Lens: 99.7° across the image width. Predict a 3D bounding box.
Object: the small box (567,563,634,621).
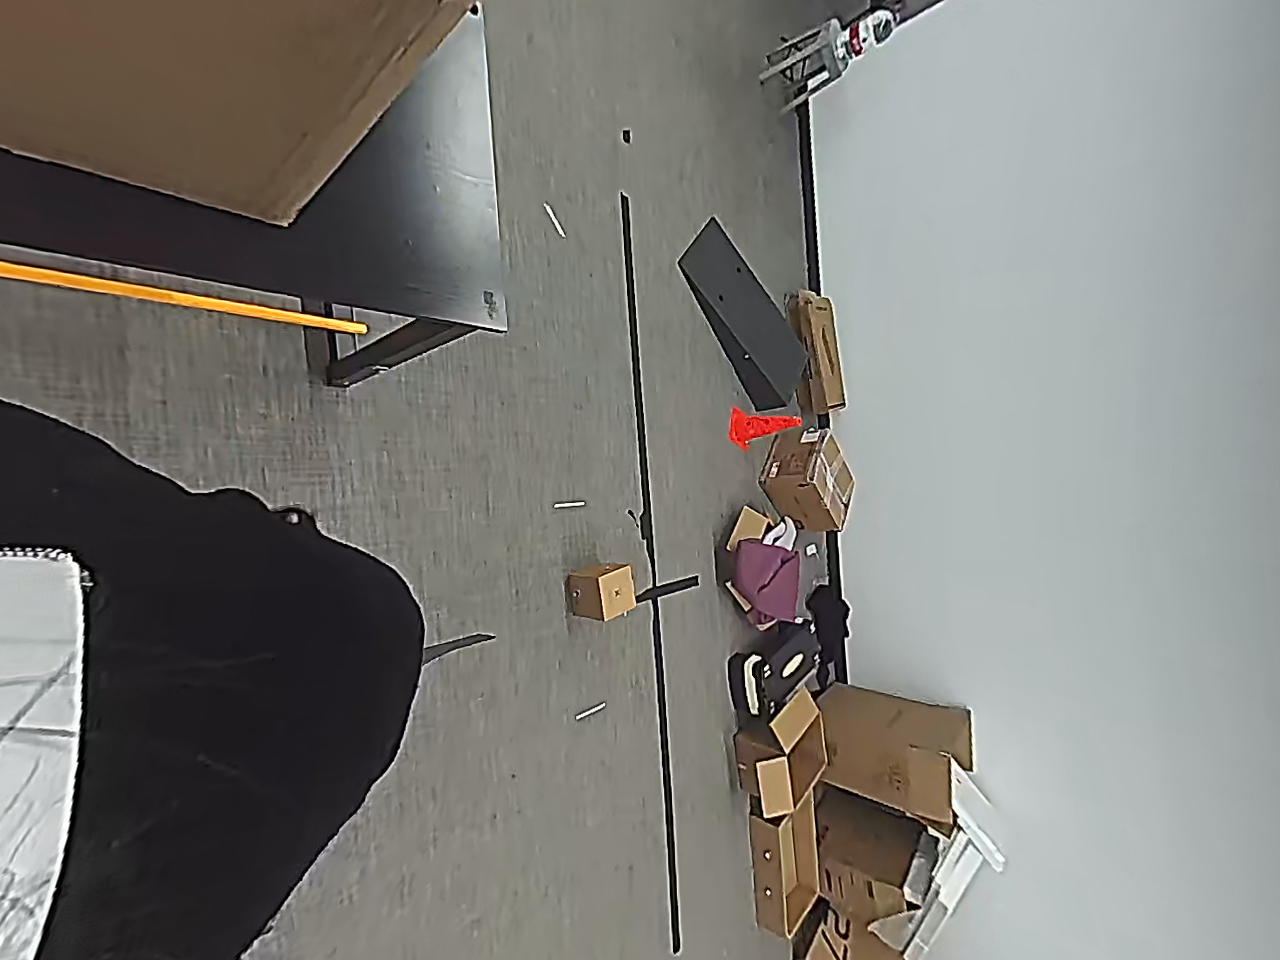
[{"bbox_3d":[-0.150,0.414,2.034,0.179,0.176,0.168,-14,97,-47],"label":"small box"}]
